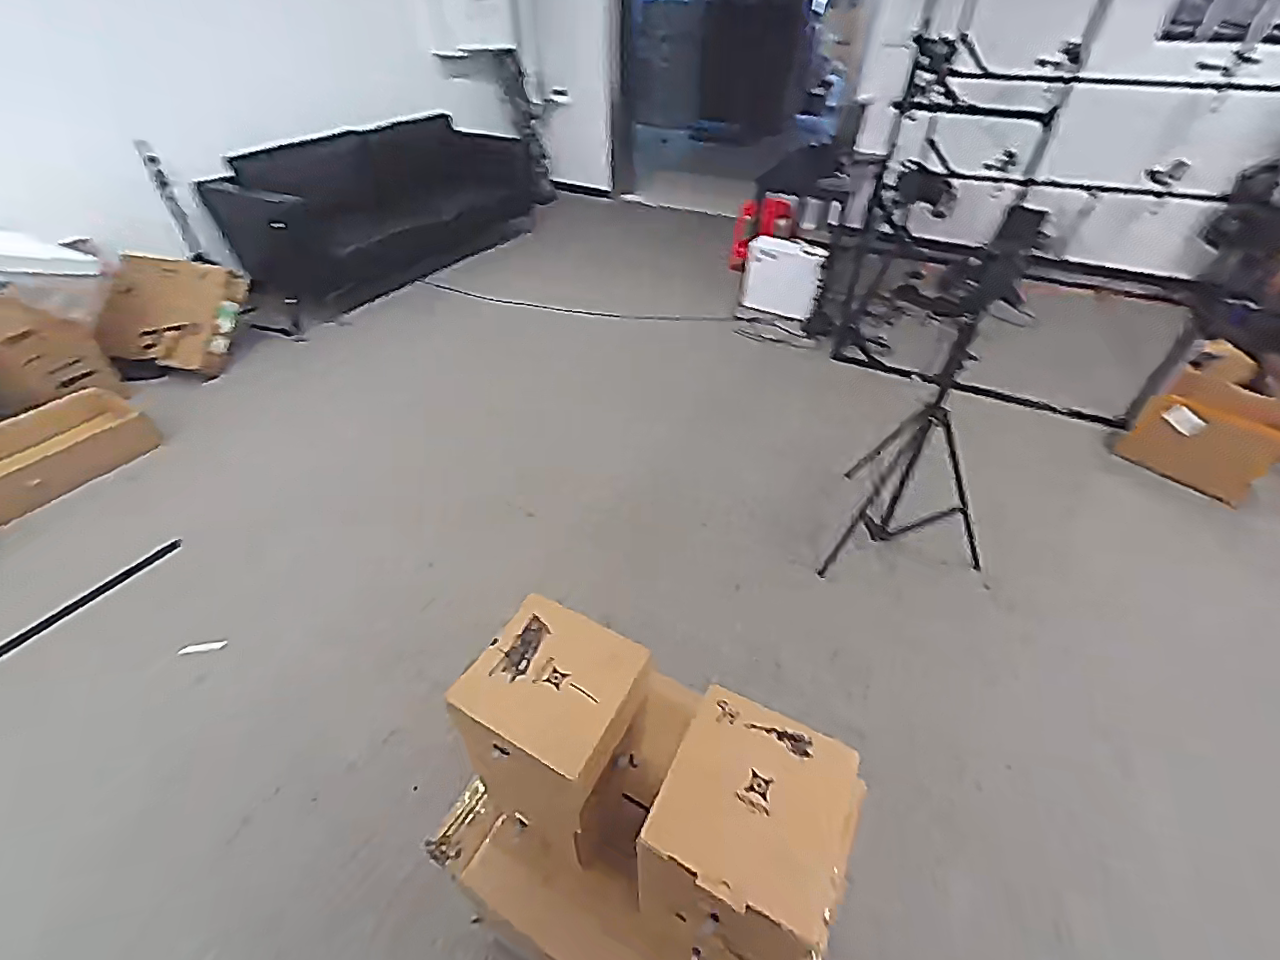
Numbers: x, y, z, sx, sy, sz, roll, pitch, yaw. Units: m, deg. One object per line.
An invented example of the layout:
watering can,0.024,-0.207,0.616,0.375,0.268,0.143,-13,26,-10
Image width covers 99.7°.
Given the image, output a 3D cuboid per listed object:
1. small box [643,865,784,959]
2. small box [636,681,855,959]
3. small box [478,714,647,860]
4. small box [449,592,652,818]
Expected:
small box,0.113,0.485,0.683,0.168,0.176,0.179,19,45,23
small box,0.111,0.360,0.577,0.168,0.176,0.179,19,45,22
small box,-0.102,0.400,0.783,0.168,0.176,0.179,20,47,22
small box,-0.100,0.279,0.671,0.179,0.176,0.168,21,46,21
